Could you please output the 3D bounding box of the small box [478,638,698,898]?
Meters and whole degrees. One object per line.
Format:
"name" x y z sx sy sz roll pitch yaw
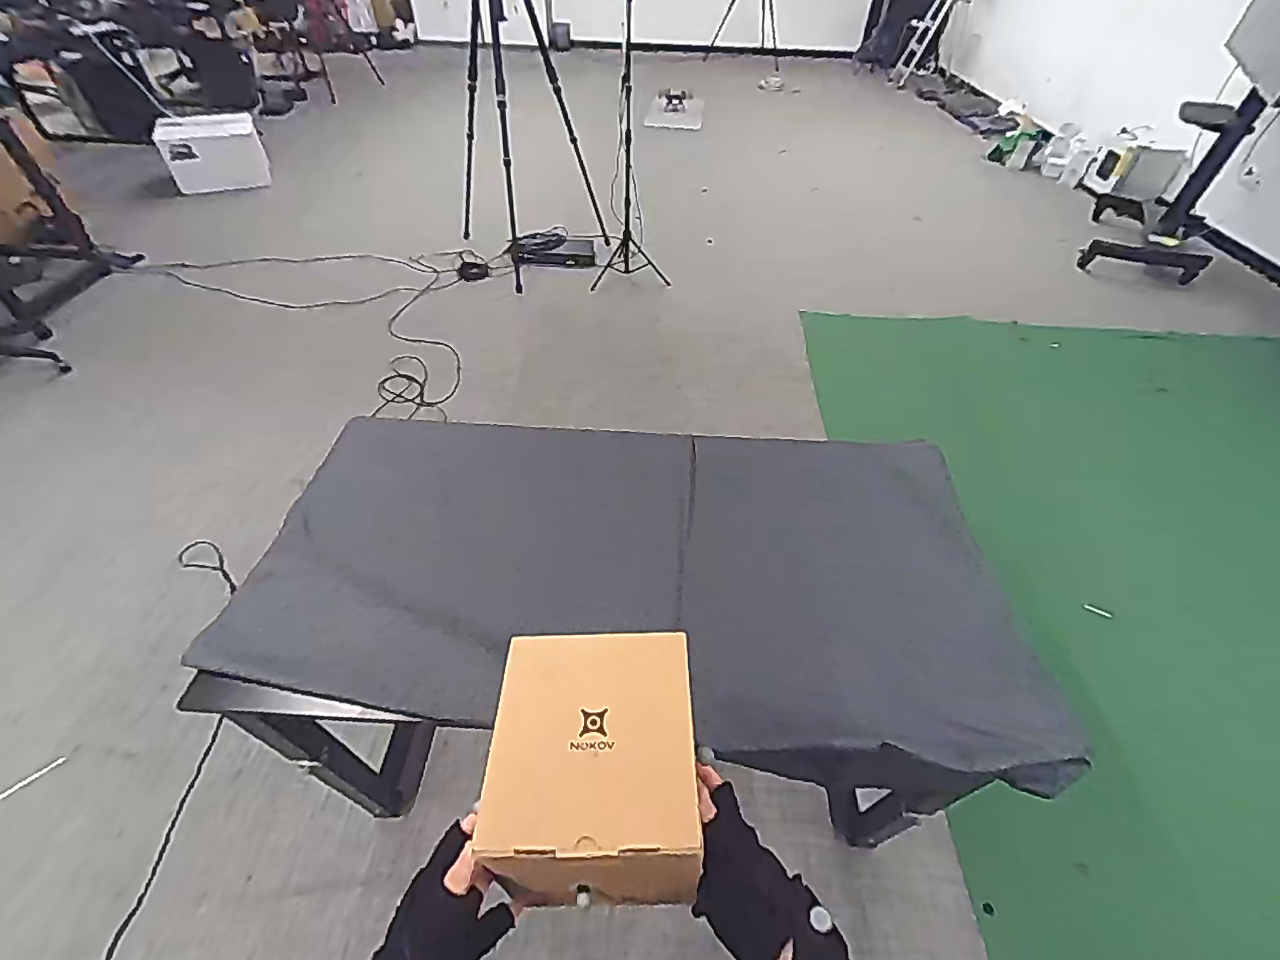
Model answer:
"small box" -0.037 0.270 0.511 0.168 0.176 0.179 -2 44 1
